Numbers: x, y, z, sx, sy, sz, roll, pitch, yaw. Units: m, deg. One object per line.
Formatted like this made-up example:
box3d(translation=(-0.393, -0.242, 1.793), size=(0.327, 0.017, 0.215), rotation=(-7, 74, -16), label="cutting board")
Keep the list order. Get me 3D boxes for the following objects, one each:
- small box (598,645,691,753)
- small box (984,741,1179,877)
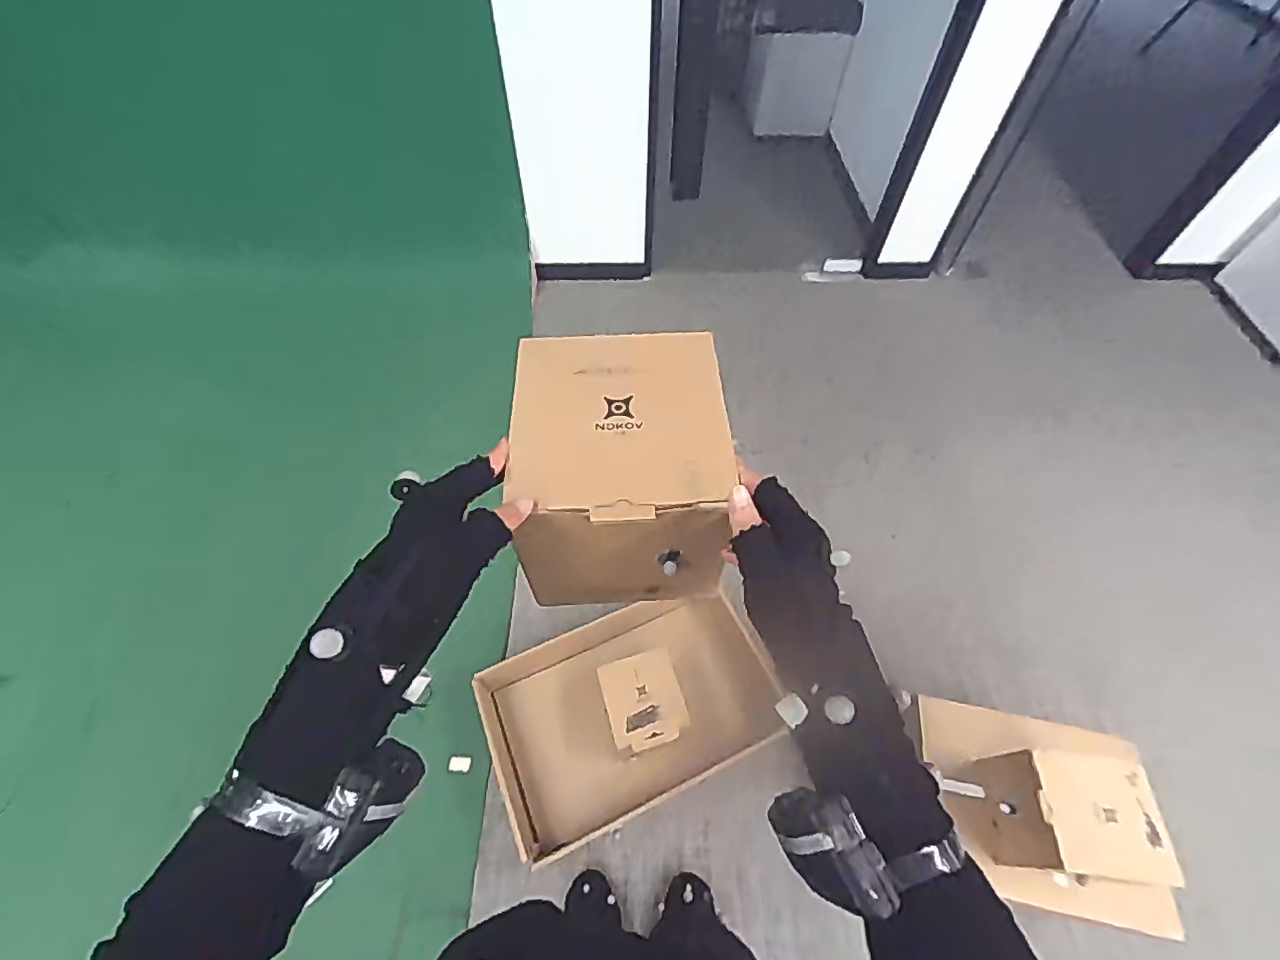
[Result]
box3d(translation=(0.010, 0.506, 1.232), size=(0.168, 0.176, 0.179), rotation=(-15, 56, -9), label="small box")
box3d(translation=(0.706, 0.546, 0.897), size=(0.179, 0.176, 0.168), rotation=(5, 57, 3), label="small box")
